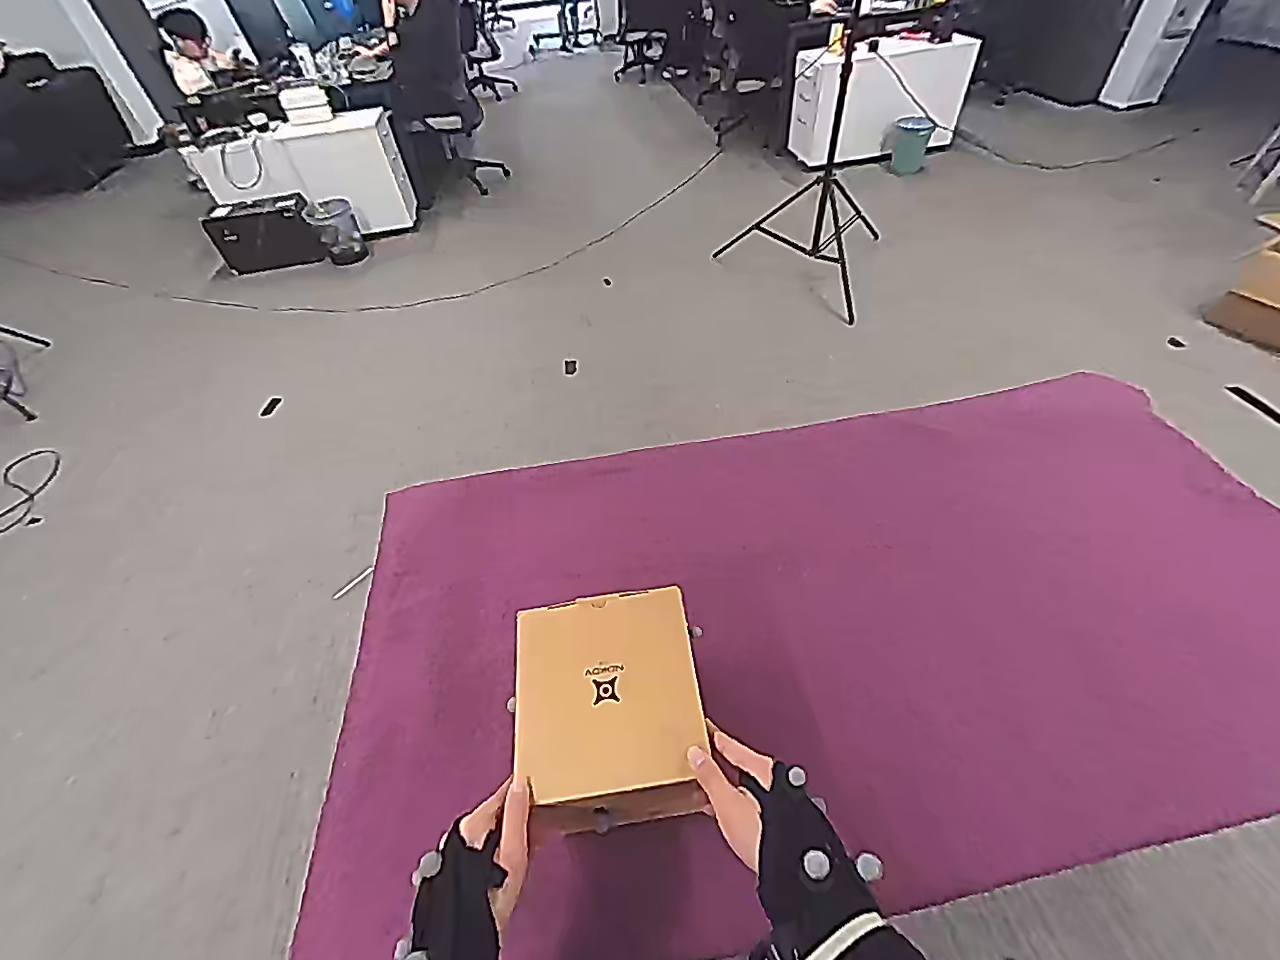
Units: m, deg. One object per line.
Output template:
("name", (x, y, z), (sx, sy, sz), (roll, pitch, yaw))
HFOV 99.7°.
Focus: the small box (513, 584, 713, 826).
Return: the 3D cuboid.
("small box", (-0.022, 0.233, 0.546), (0.168, 0.176, 0.179), (-10, 49, 0))
